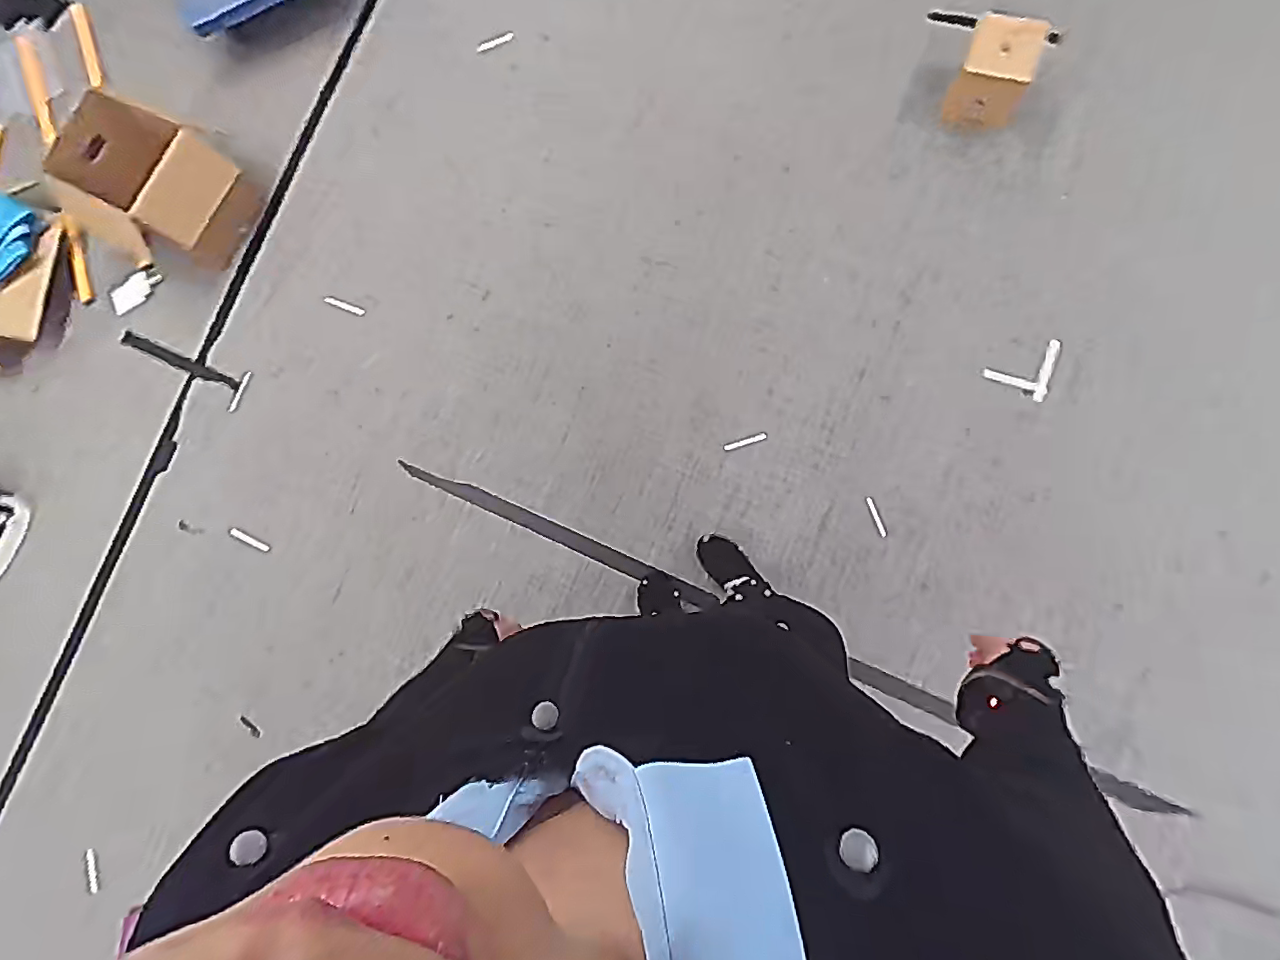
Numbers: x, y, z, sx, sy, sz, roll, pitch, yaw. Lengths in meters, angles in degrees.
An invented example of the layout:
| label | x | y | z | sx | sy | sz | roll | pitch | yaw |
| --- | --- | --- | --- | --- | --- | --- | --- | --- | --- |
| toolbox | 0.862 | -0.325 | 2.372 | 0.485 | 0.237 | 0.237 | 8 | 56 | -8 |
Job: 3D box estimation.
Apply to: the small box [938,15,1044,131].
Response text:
| label | x | y | z | sx | sy | sz | roll | pitch | yaw |
| --- | --- | --- | --- | --- | --- | --- | --- | --- | --- |
| small box | 0.936 | -1.090 | 1.461 | 0.168 | 0.176 | 0.179 | 20 | 85 | 10 |
